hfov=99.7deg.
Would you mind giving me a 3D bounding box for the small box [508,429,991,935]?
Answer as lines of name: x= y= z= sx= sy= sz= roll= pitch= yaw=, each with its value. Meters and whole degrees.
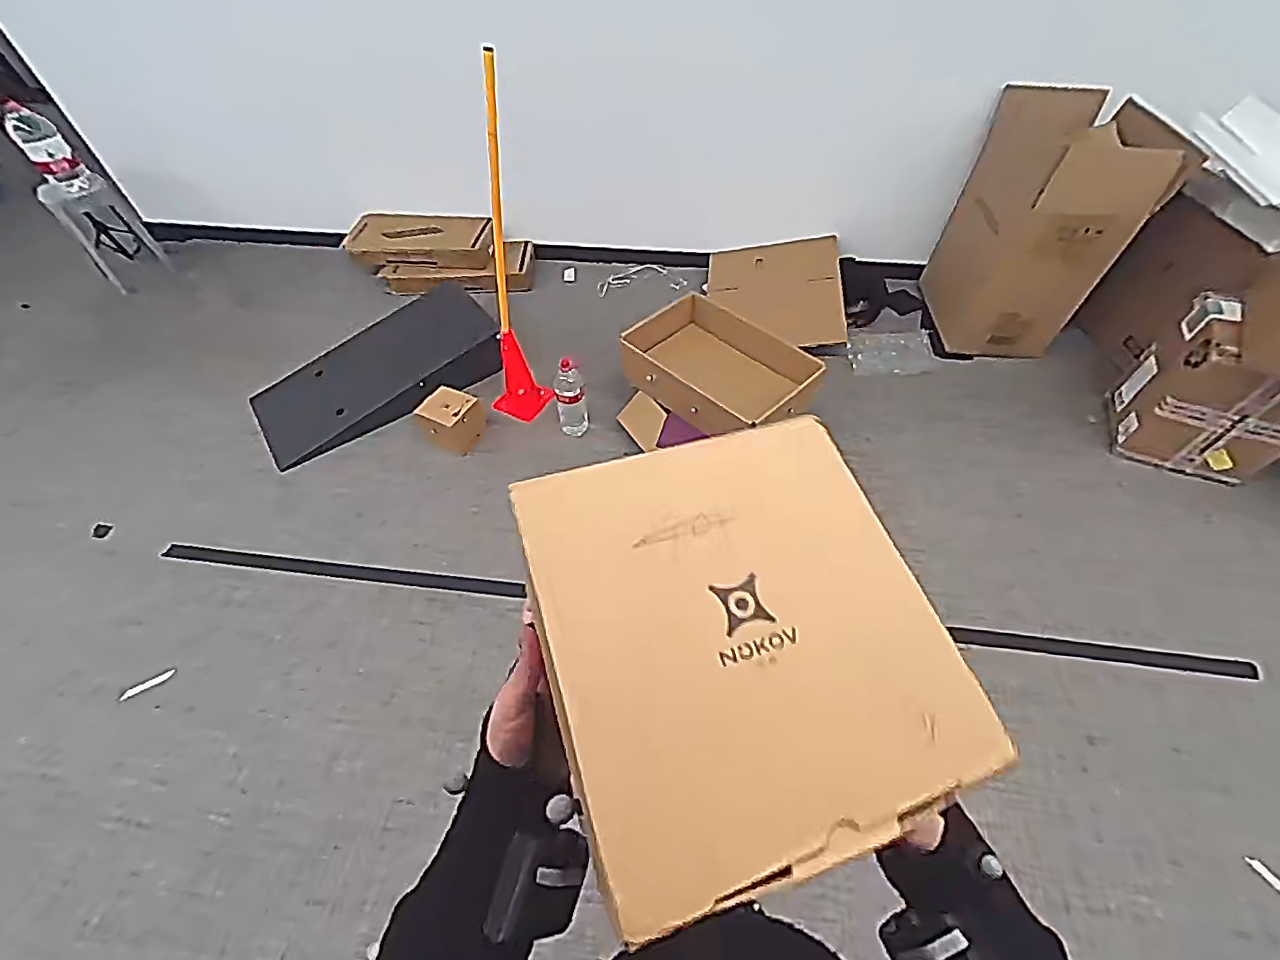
small box: x=0.033 y=0.103 z=0.307 sx=0.168 sy=0.176 sz=0.179 roll=-15 pitch=61 yaw=-16
